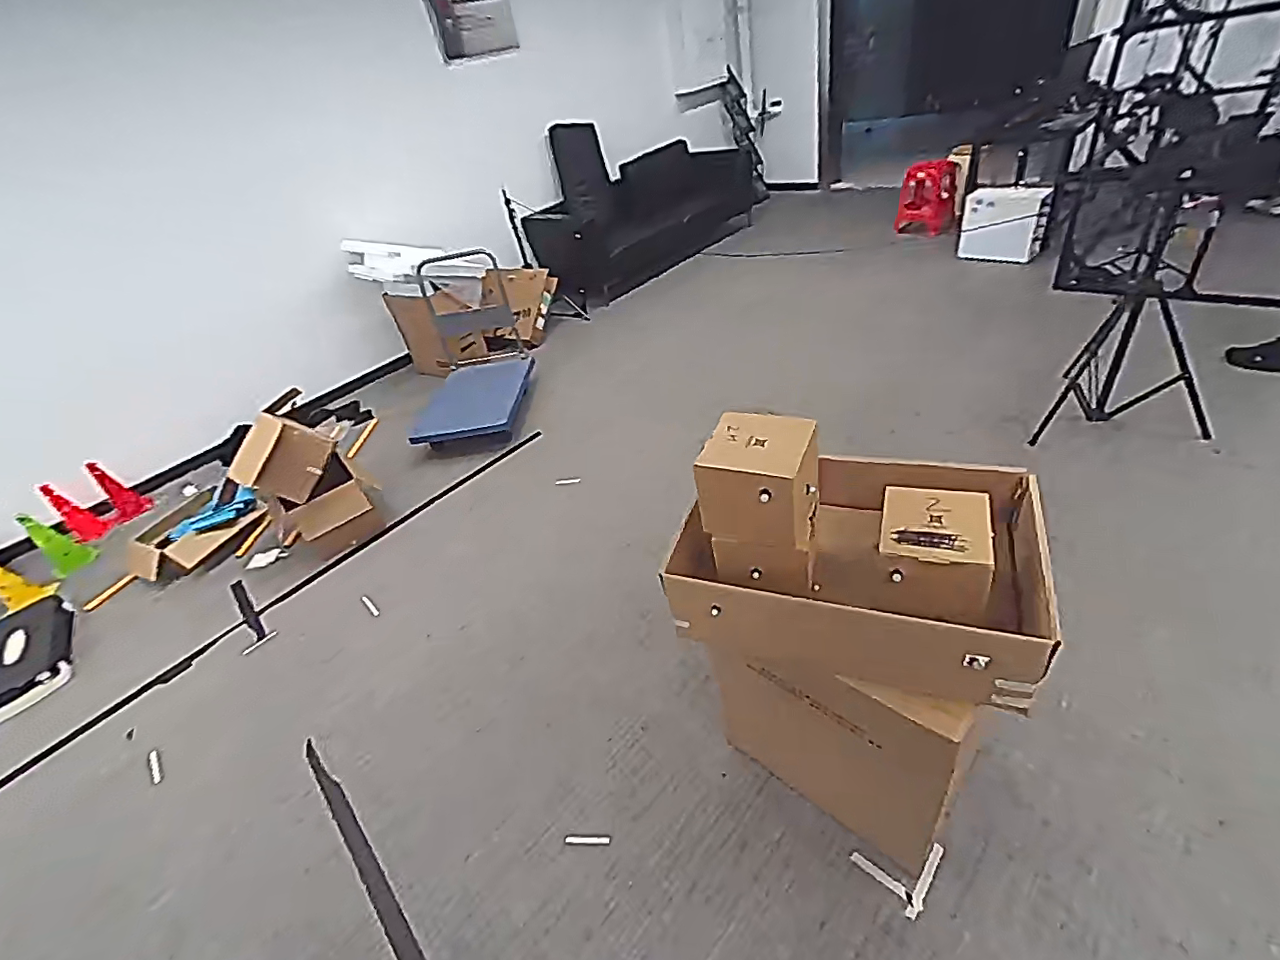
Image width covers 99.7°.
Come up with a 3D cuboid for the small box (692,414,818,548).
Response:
[{"bbox_3d":[0.216,0.002,0.980,0.179,0.176,0.168,9,43,28],"label":"small box"}]
